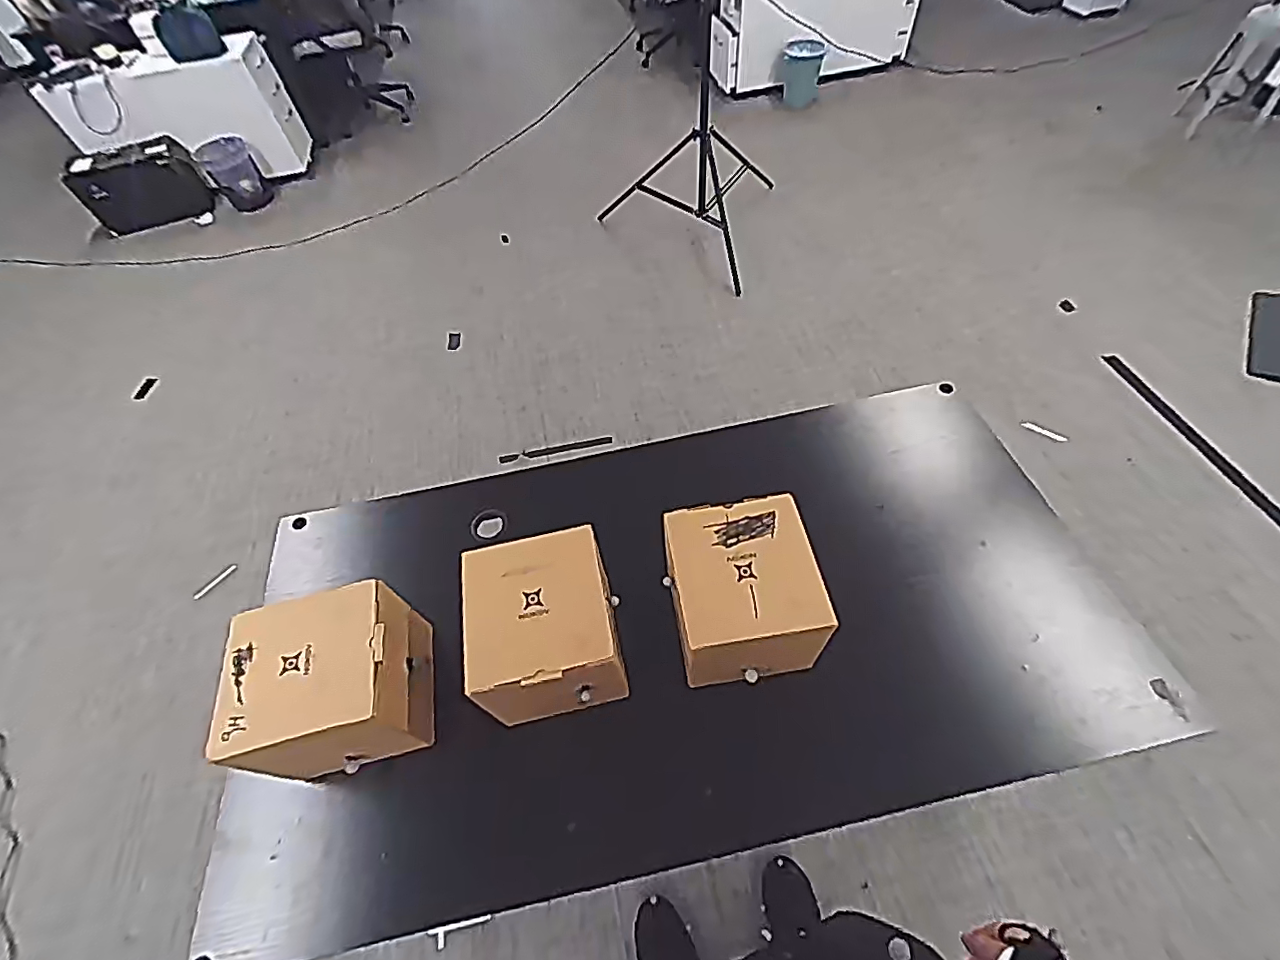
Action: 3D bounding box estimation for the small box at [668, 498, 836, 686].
[{"bbox_3d":[0.128,0.148,0.699,0.168,0.176,0.179,-8,56,-1],"label":"small box"}]

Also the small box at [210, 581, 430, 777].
[{"bbox_3d":[-0.372,0.250,0.671,0.179,0.176,0.168,-13,55,-6],"label":"small box"}]

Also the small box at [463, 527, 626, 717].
[{"bbox_3d":[-0.118,0.190,0.693,0.168,0.176,0.179,-12,54,-4],"label":"small box"}]
